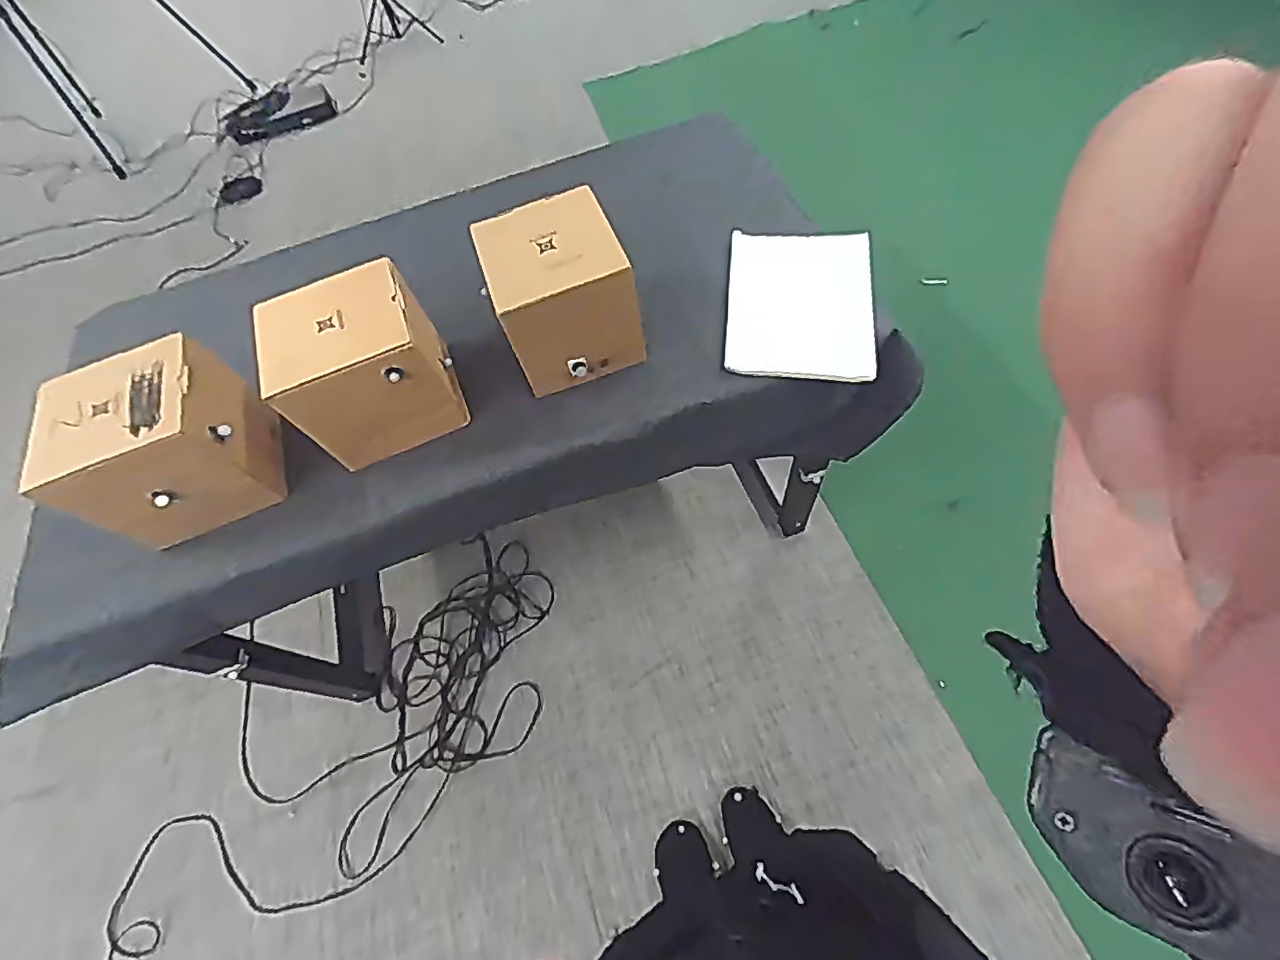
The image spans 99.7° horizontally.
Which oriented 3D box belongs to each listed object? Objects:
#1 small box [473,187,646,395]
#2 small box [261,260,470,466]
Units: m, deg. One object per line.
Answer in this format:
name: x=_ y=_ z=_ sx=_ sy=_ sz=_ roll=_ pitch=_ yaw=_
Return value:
small box: x=-0.102 y=-0.248 z=0.730 sx=0.168 sy=0.176 sz=0.179 roll=-22 pitch=62 yaw=-3
small box: x=-0.352 y=-0.145 z=0.709 sx=0.179 sy=0.176 sz=0.168 roll=-24 pitch=61 yaw=-6
